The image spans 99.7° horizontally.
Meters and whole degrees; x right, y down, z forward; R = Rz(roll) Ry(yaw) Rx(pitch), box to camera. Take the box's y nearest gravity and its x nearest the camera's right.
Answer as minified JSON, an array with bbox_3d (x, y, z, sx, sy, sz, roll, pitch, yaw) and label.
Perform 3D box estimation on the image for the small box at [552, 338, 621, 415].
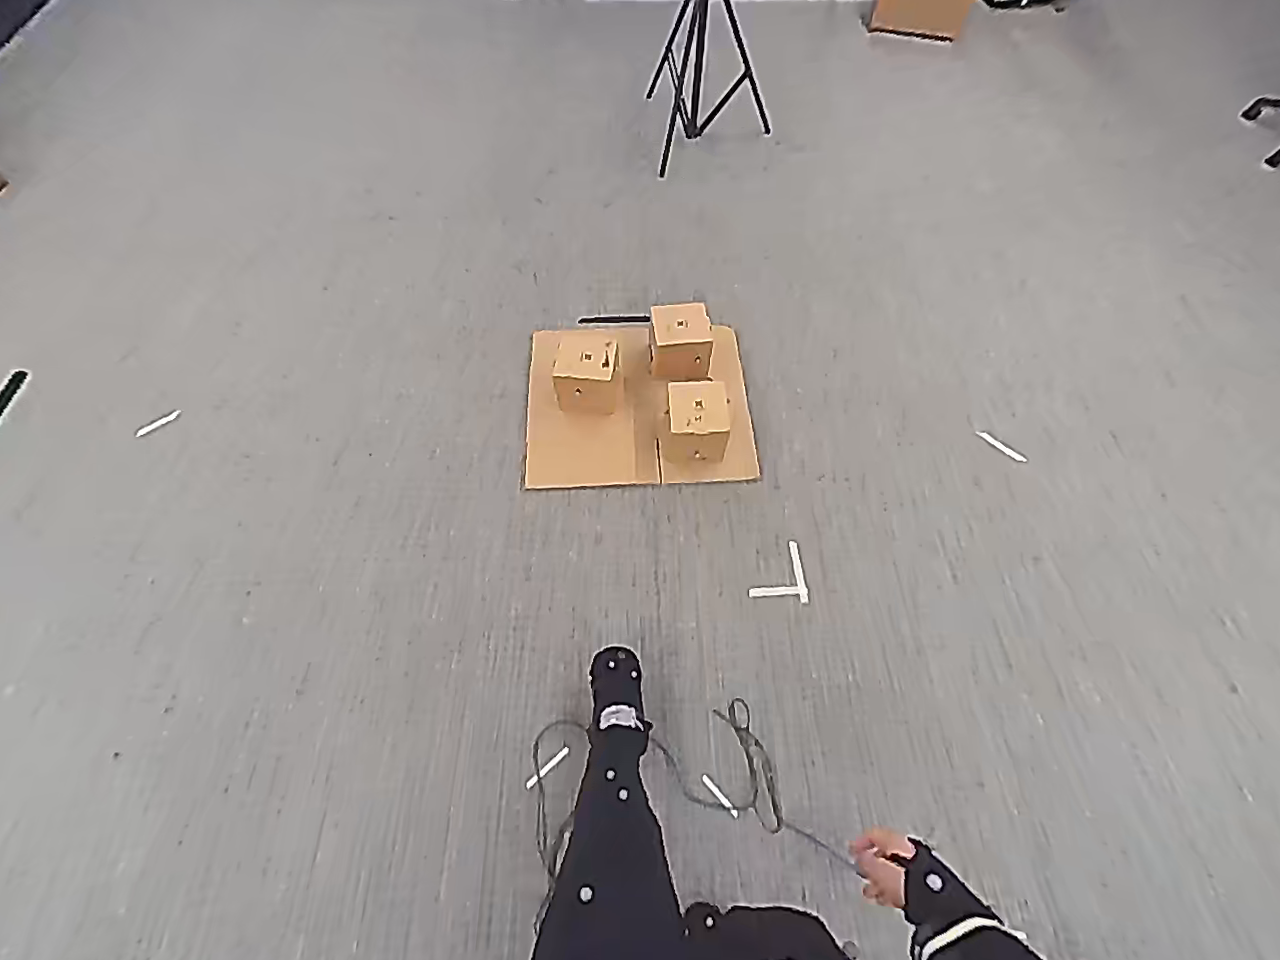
[{"bbox_3d":[-0.157,-0.315,1.662,0.179,0.176,0.168,5,62,4],"label":"small box"}]

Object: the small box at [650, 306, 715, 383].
[{"bbox_3d":[0.129,-0.431,1.729,0.179,0.176,0.168,-6,61,-4],"label":"small box"}]

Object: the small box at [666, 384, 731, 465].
[{"bbox_3d":[0.166,-0.161,1.583,0.168,0.176,0.179,-2,63,0],"label":"small box"}]
